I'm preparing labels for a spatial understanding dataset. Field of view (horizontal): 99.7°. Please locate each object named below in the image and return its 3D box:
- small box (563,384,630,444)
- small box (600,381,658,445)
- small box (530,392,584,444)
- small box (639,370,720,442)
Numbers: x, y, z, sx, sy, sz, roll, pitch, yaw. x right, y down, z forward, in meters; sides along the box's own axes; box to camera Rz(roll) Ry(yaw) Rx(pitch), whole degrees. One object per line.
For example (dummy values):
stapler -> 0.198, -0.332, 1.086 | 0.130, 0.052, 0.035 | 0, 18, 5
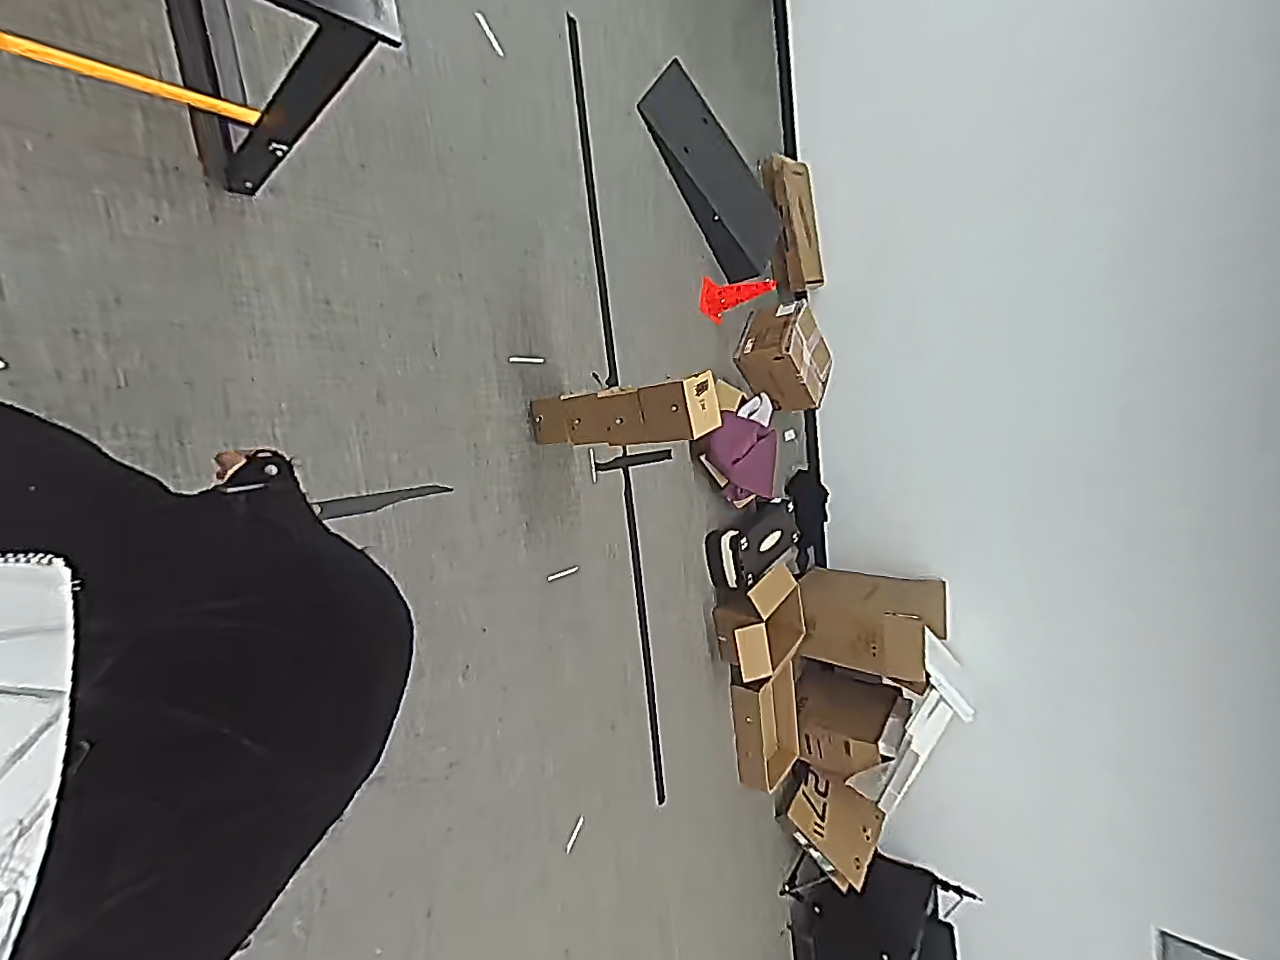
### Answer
small box -> -0.135, -0.226, 1.855 | 0.179, 0.176, 0.168 | -25, 107, -47
small box -> -0.010, -0.216, 1.749 | 0.179, 0.176, 0.168 | -28, 110, -47
small box -> -0.269, -0.225, 1.952 | 0.179, 0.176, 0.168 | -18, 102, -47
small box -> 0.118, -0.224, 1.644 | 0.168, 0.176, 0.179 | -29, 111, -47
